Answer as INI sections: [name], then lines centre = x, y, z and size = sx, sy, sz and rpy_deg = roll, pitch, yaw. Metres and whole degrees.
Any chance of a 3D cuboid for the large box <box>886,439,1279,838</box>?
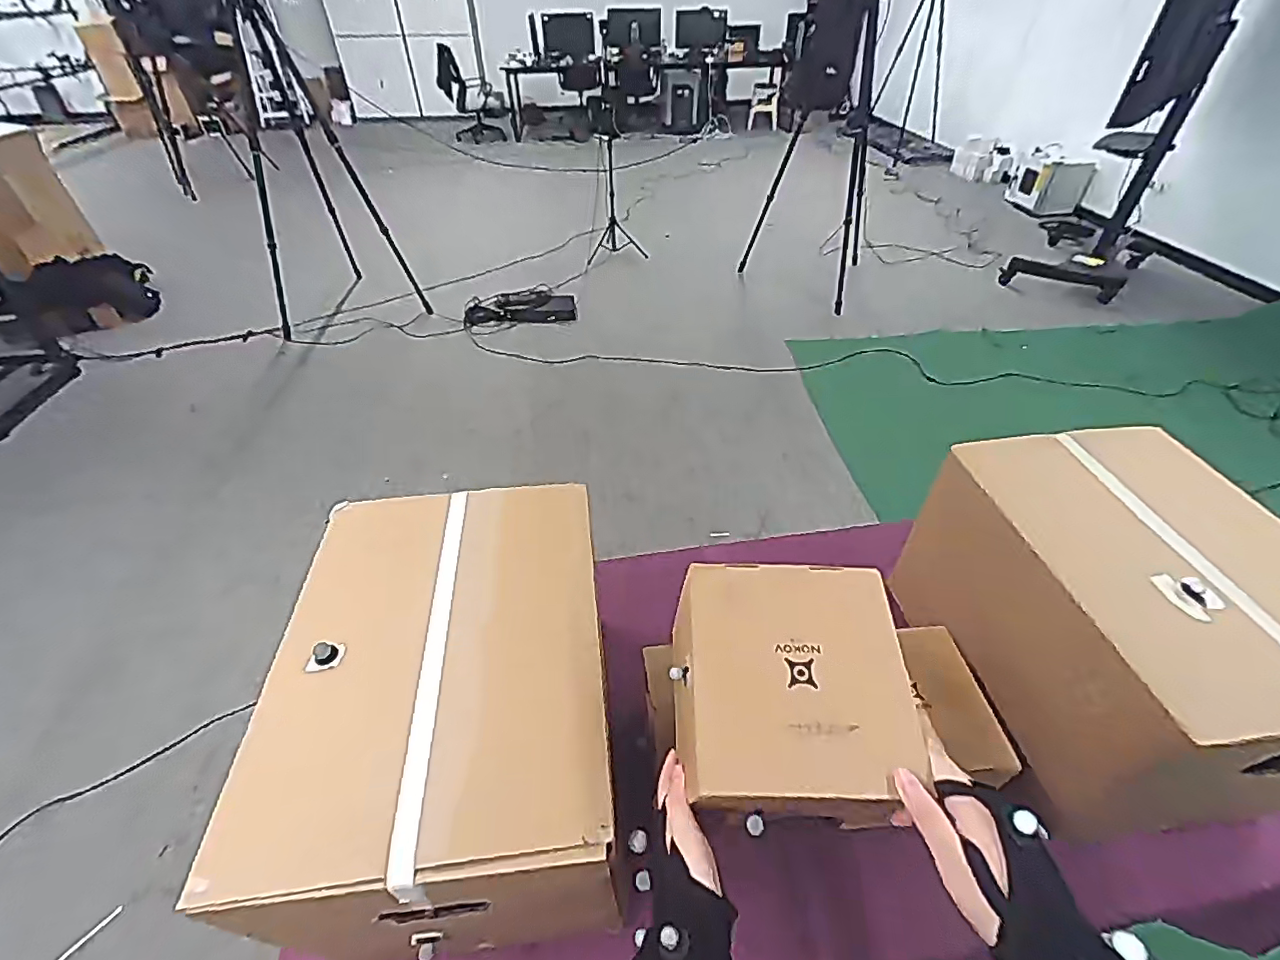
[large box]
centre = 0.602, 0.193, 0.721
size = 0.320, 0.320, 0.408
rpy_deg = -5, 44, -4
